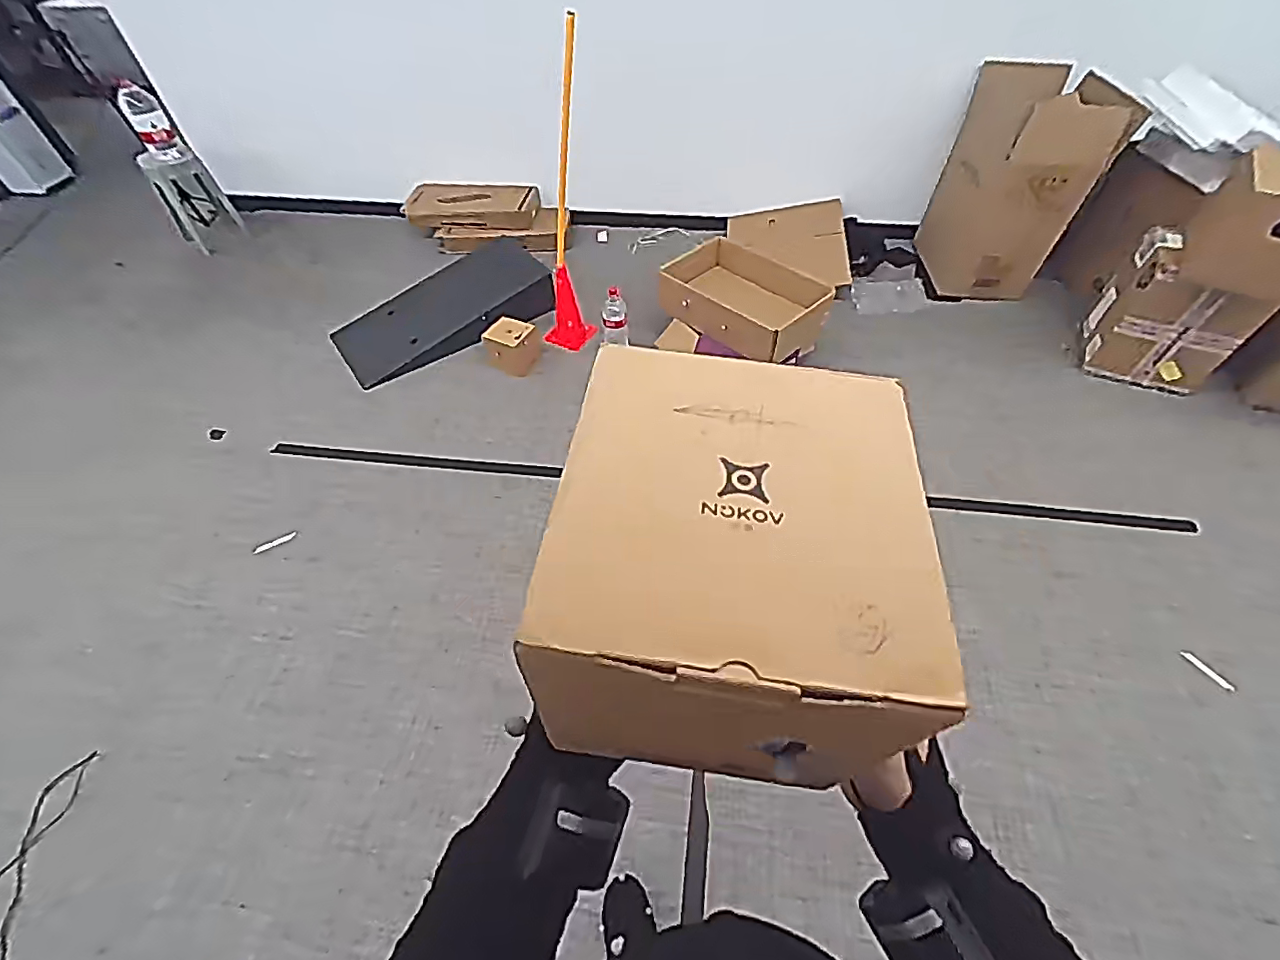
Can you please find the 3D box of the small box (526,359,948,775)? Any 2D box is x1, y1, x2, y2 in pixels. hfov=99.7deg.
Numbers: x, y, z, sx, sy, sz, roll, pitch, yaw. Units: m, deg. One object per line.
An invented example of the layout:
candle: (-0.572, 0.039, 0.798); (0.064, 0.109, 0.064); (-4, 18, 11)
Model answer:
small box: (0.043, 0.058, 0.319); (0.168, 0.176, 0.179); (8, 52, 2)
